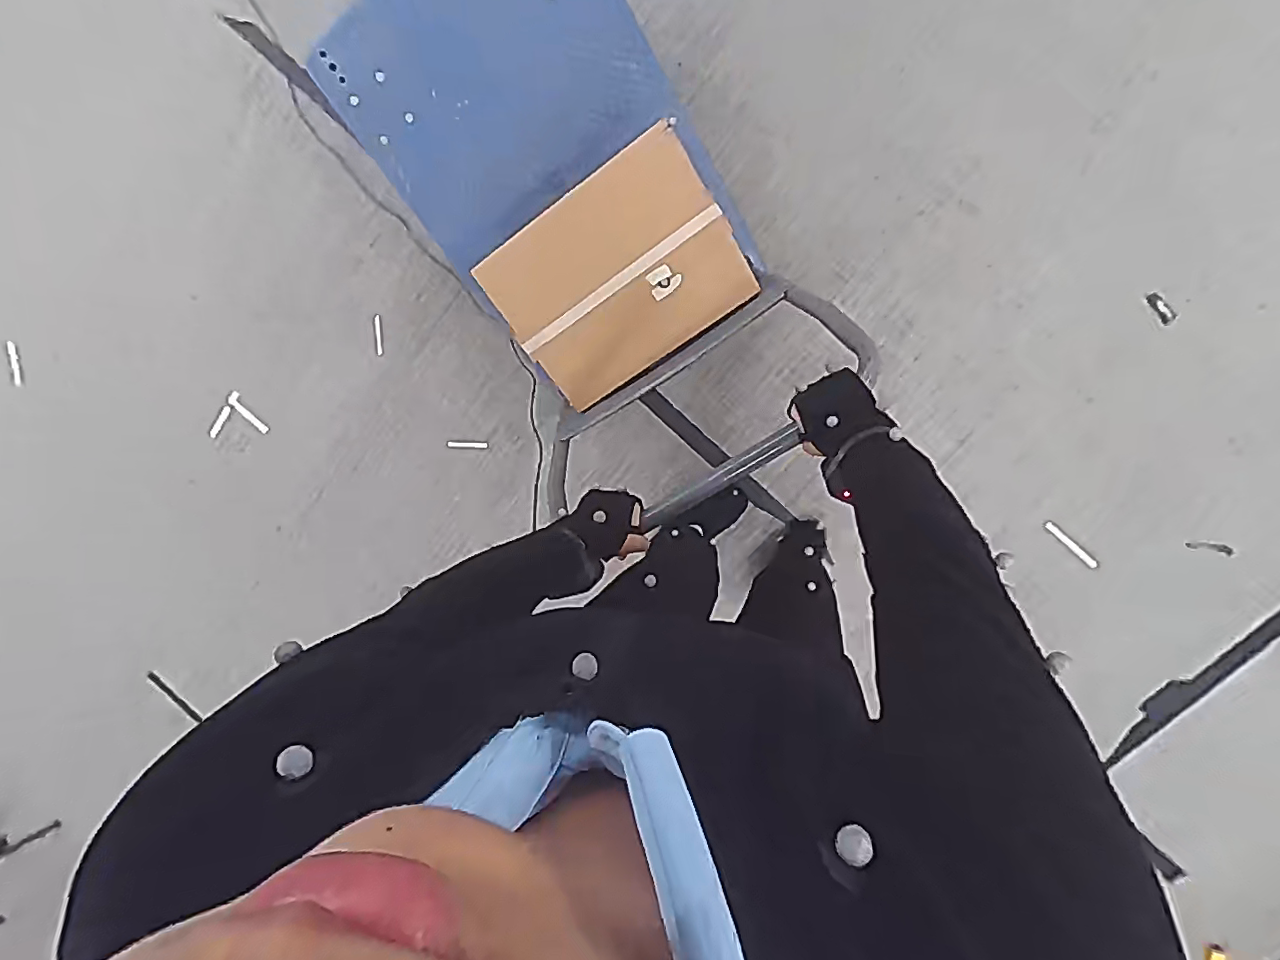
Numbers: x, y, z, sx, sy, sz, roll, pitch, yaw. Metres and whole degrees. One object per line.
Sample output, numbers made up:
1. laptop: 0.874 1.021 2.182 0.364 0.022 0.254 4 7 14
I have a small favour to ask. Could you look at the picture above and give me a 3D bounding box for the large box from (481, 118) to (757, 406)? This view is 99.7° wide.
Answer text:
1. large box: -0.041 -0.419 1.089 0.408 0.320 0.320 -33 112 12
